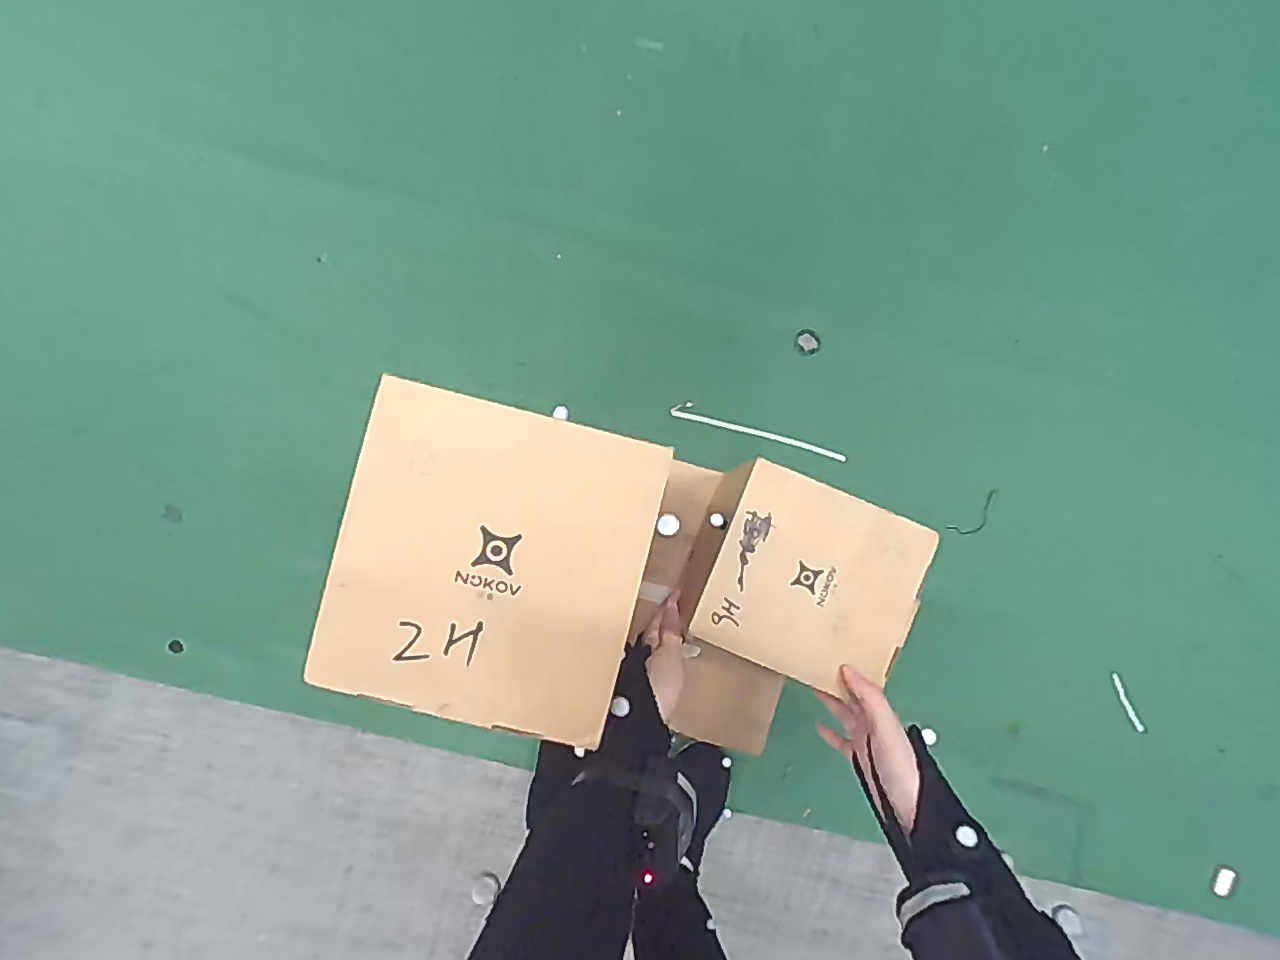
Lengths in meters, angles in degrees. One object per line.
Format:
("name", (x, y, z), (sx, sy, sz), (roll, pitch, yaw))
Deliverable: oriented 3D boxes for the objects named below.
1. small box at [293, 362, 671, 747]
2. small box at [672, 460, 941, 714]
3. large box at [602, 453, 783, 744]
("small box", (-0.087, 0.042, 0.369), (0.168, 0.176, 0.179), (15, 89, -2))
("small box", (0.145, 0.093, 0.535), (0.179, 0.176, 0.168), (23, 86, 0))
("large box", (-0.012, 0.119, 0.779), (0.408, 0.320, 0.320), (15, 90, -2))
